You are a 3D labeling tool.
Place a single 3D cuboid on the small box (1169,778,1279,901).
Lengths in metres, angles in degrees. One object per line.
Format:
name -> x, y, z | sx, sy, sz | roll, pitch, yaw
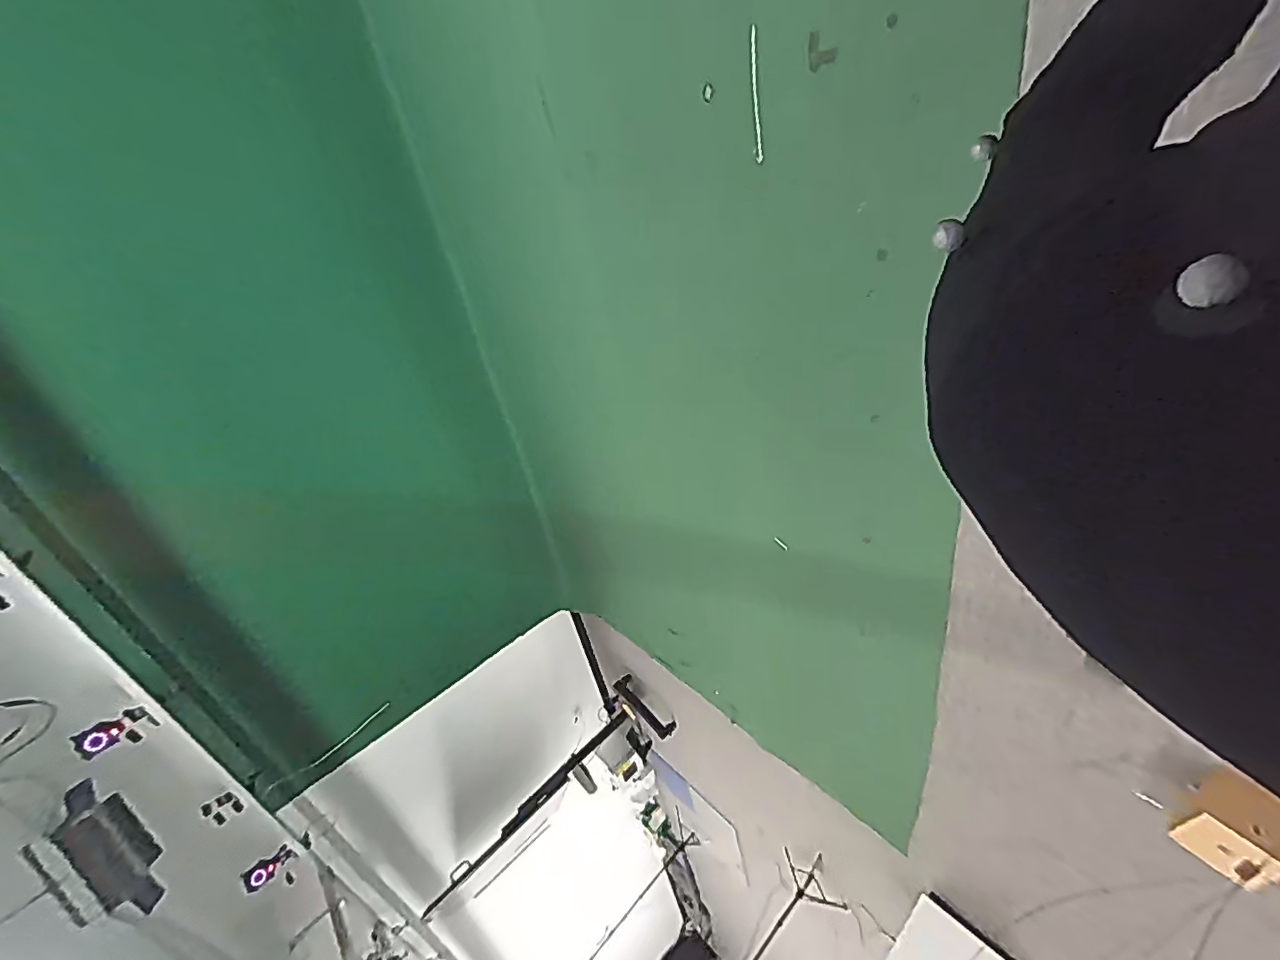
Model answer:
small box -> 1.532, 0.913, 1.384 | 0.179, 0.176, 0.168 | 36, 143, 35
